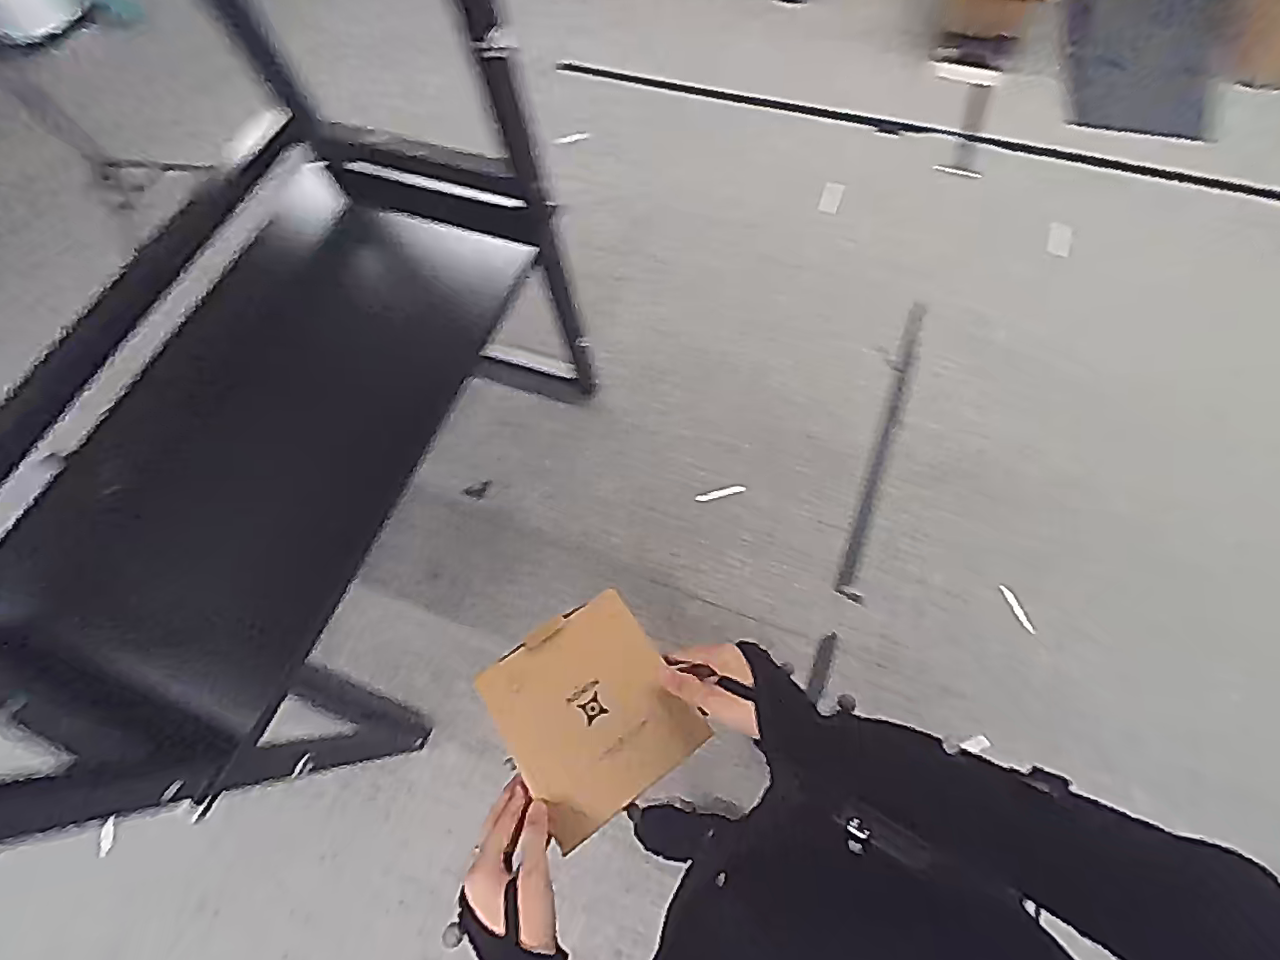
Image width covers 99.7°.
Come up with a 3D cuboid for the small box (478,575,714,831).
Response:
[{"bbox_3d":[-0.047,0.238,0.577,0.168,0.176,0.179,-30,64,-17],"label":"small box"}]
